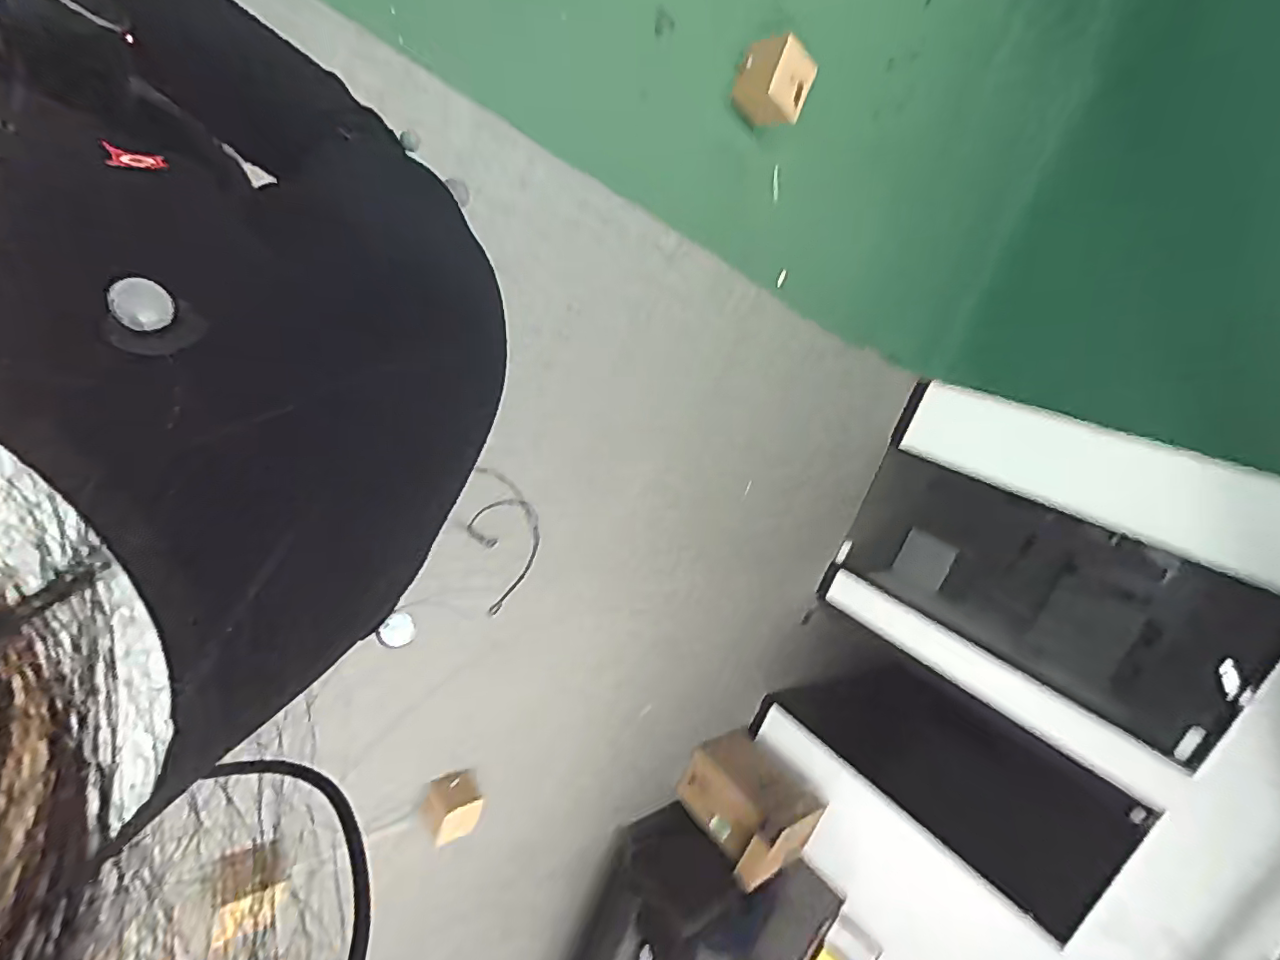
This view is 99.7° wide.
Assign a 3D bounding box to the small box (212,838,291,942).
[{"bbox_3d":[-1.253,1.307,1.738,0.179,0.176,0.168,4,111,-46],"label":"small box"}]

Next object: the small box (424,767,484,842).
[{"bbox_3d":[-0.771,1.329,2.226,0.168,0.176,0.179,4,111,-46],"label":"small box"}]

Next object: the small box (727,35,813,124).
[{"bbox_3d":[0.415,-1.283,1.740,0.179,0.176,0.168,9,108,-46],"label":"small box"}]
